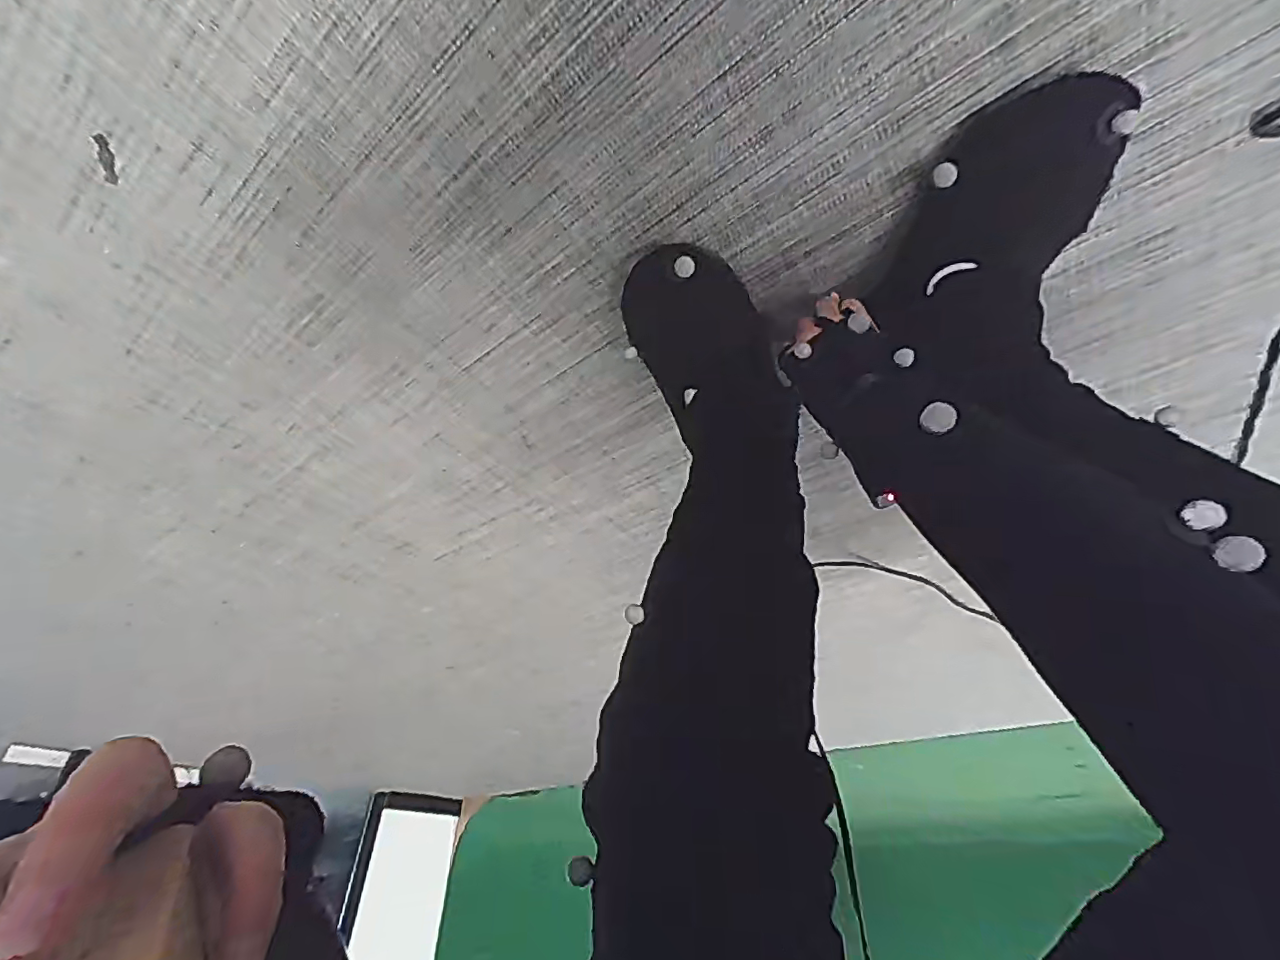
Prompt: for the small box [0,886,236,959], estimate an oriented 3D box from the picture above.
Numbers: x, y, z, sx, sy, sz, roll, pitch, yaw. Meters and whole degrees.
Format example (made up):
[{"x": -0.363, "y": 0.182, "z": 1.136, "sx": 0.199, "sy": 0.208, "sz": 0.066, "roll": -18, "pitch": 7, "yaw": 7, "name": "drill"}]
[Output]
[{"x": -0.114, "y": 0.196, "z": 0.053, "sx": 0.176, "sy": 0.168, "sz": 0.179, "roll": -23, "pitch": -169, "yaw": -34, "name": "small box"}]
